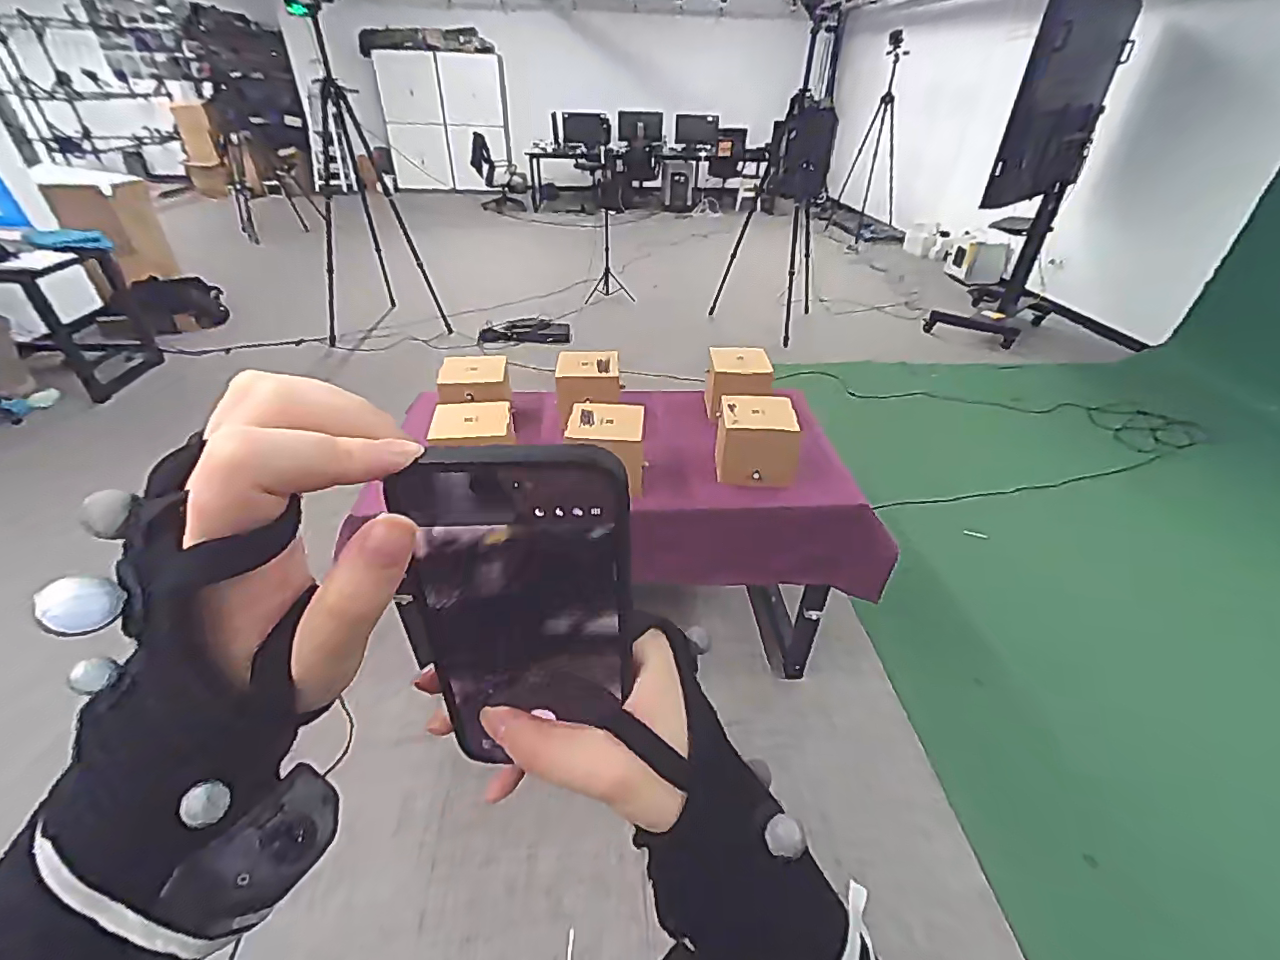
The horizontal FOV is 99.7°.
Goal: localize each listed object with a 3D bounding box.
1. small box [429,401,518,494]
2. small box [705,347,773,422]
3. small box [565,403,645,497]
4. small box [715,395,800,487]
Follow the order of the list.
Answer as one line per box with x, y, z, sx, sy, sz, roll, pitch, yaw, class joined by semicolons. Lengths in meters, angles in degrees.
-0.393;-0.077;1.305;0.179;0.176;0.168;-3;36;-9;small box
0.287;-0.282;1.613;0.168;0.176;0.179;1;37;0;small box
-0.080;-0.072;1.311;0.179;0.176;0.168;4;36;1;small box
0.287;-0.096;1.360;0.179;0.176;0.168;4;36;2;small box
